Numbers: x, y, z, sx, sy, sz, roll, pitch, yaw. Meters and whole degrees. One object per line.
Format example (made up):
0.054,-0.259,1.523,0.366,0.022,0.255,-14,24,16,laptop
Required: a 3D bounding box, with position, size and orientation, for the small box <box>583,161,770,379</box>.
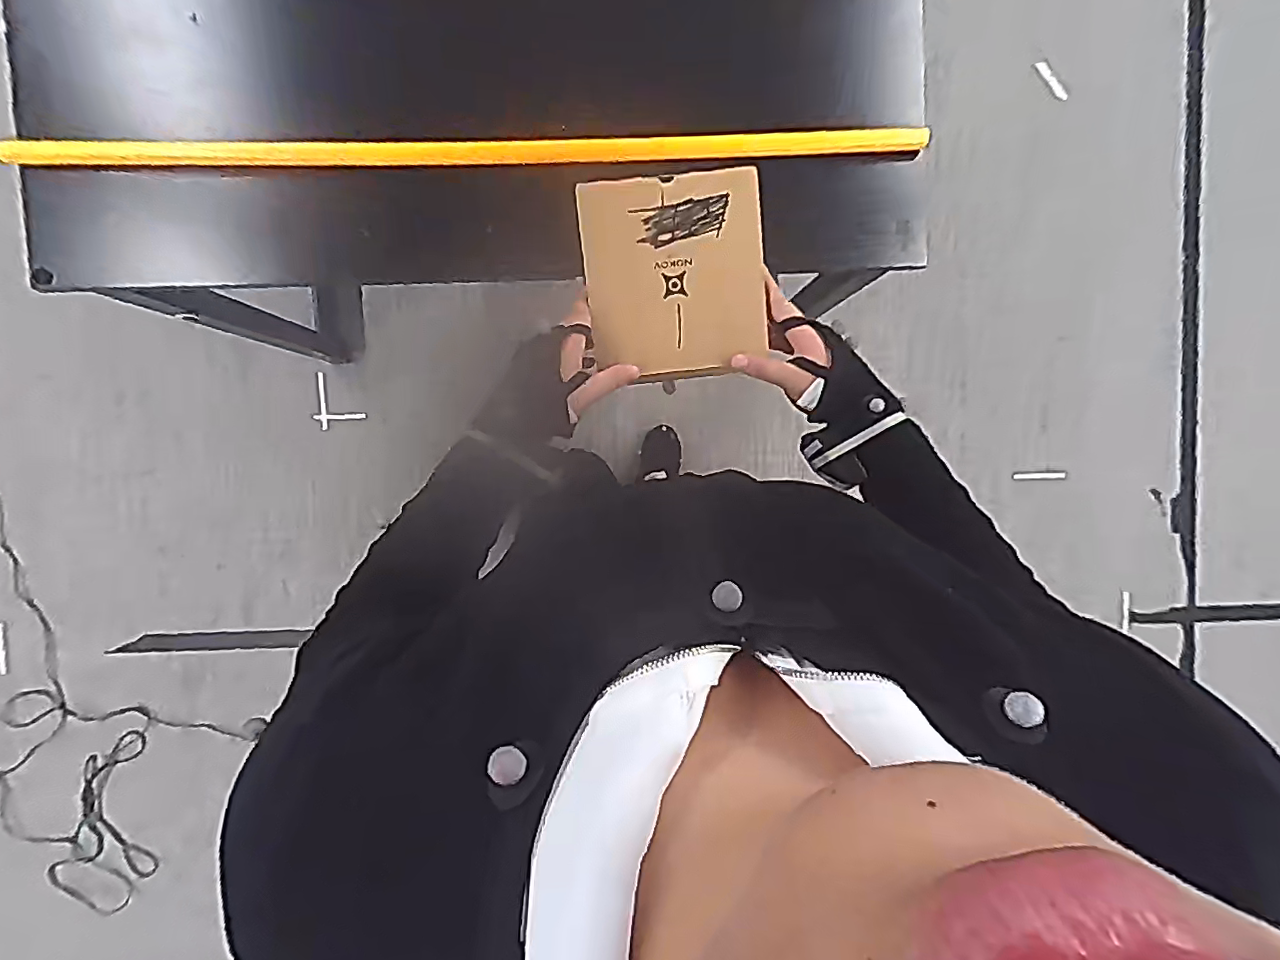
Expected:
0.032,-0.207,0.579,0.168,0.176,0.179,-6,98,0,small box
